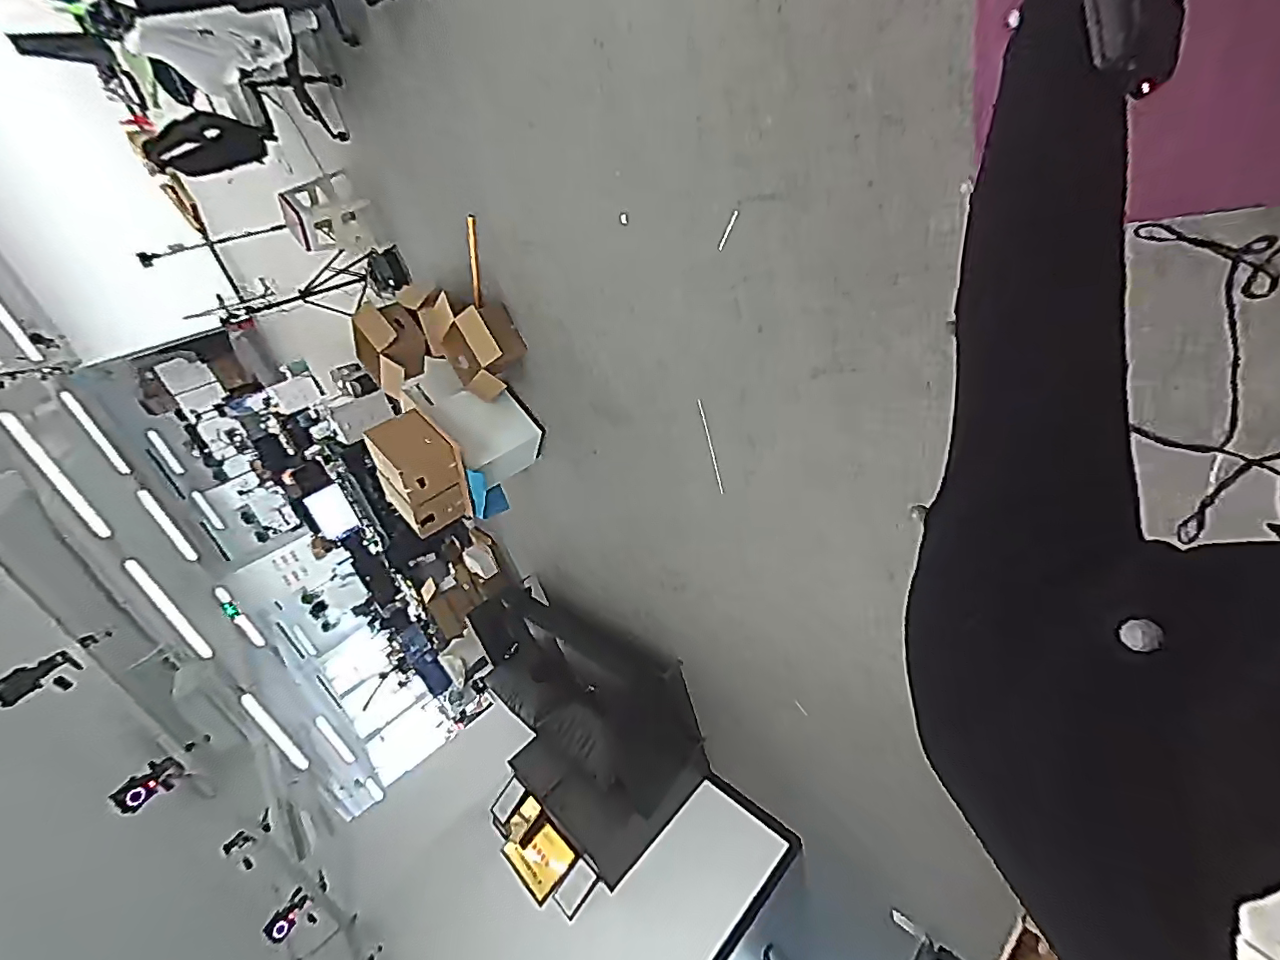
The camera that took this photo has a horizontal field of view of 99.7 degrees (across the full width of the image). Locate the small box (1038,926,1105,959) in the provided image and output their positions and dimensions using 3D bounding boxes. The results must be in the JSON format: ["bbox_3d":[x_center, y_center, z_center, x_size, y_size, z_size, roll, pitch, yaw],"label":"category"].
[{"bbox_3d":[1.251,1.458,1.561,0.168,0.176,0.179,19,133,43],"label":"small box"}]
